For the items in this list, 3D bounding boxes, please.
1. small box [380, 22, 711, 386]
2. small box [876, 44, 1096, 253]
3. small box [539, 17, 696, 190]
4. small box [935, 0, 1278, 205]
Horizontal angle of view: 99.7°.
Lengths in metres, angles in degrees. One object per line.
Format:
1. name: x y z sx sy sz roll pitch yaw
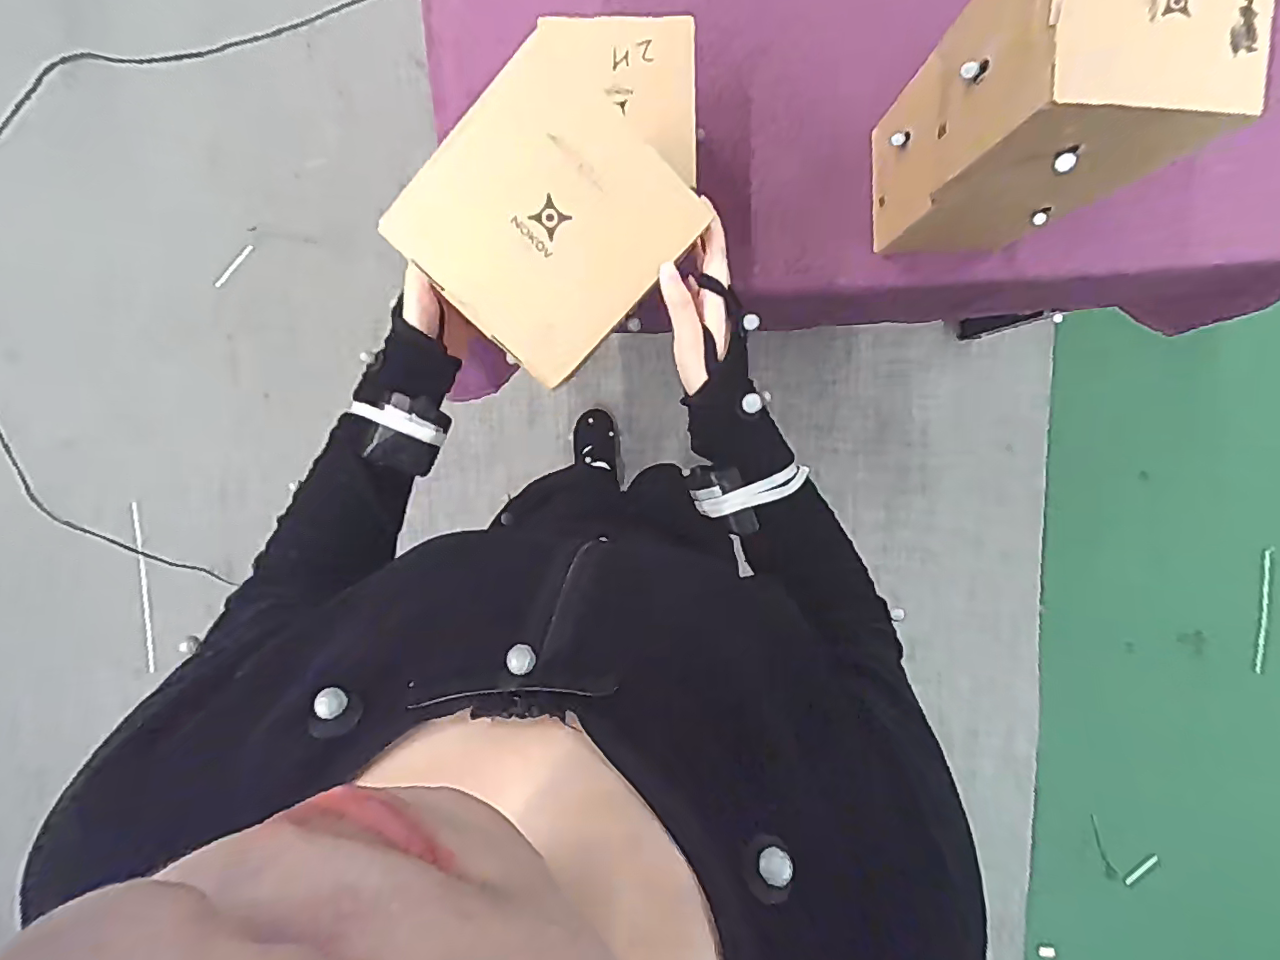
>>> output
1. small box: -0.067 -0.202 0.453 0.179 0.176 0.168 -43 103 8
2. small box: 0.404 -0.387 0.656 0.179 0.176 0.168 -3 94 -1
3. small box: -0.024 -0.399 0.645 0.168 0.176 0.179 -1 95 -2
4. small box: 0.400 -0.370 0.493 0.179 0.176 0.168 2 95 -1
